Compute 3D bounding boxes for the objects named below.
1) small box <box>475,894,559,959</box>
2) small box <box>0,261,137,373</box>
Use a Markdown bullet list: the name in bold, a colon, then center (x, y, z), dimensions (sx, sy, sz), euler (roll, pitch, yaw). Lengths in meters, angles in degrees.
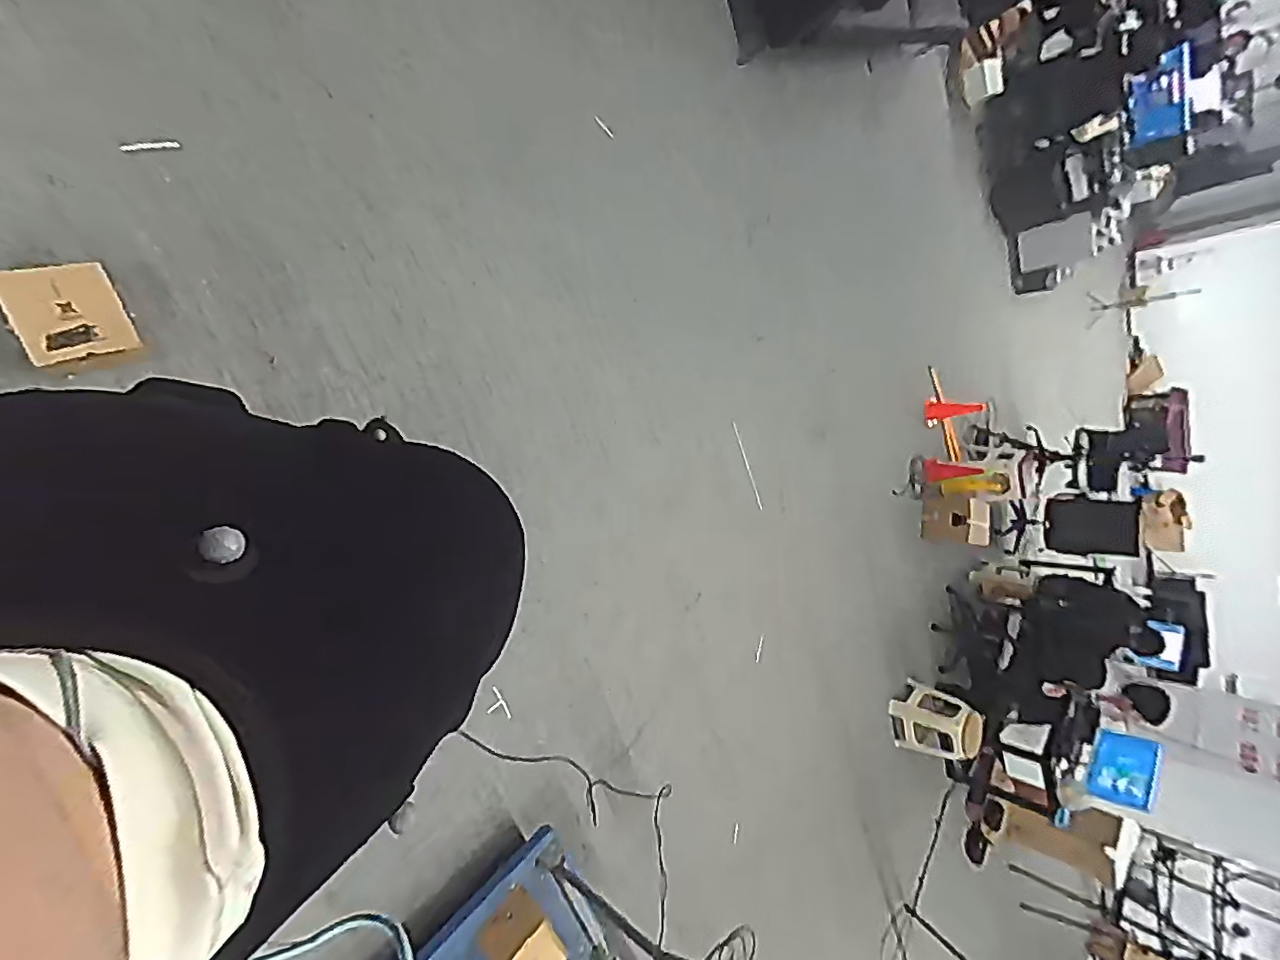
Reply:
- **small box**: center (-0.359, 1.364, 1.576), dimensions (0.179, 0.176, 0.168), euler (6, 85, -42)
- **small box**: center (-1.158, -0.322, 1.092), dimensions (0.168, 0.176, 0.179), euler (-28, 107, -38)
